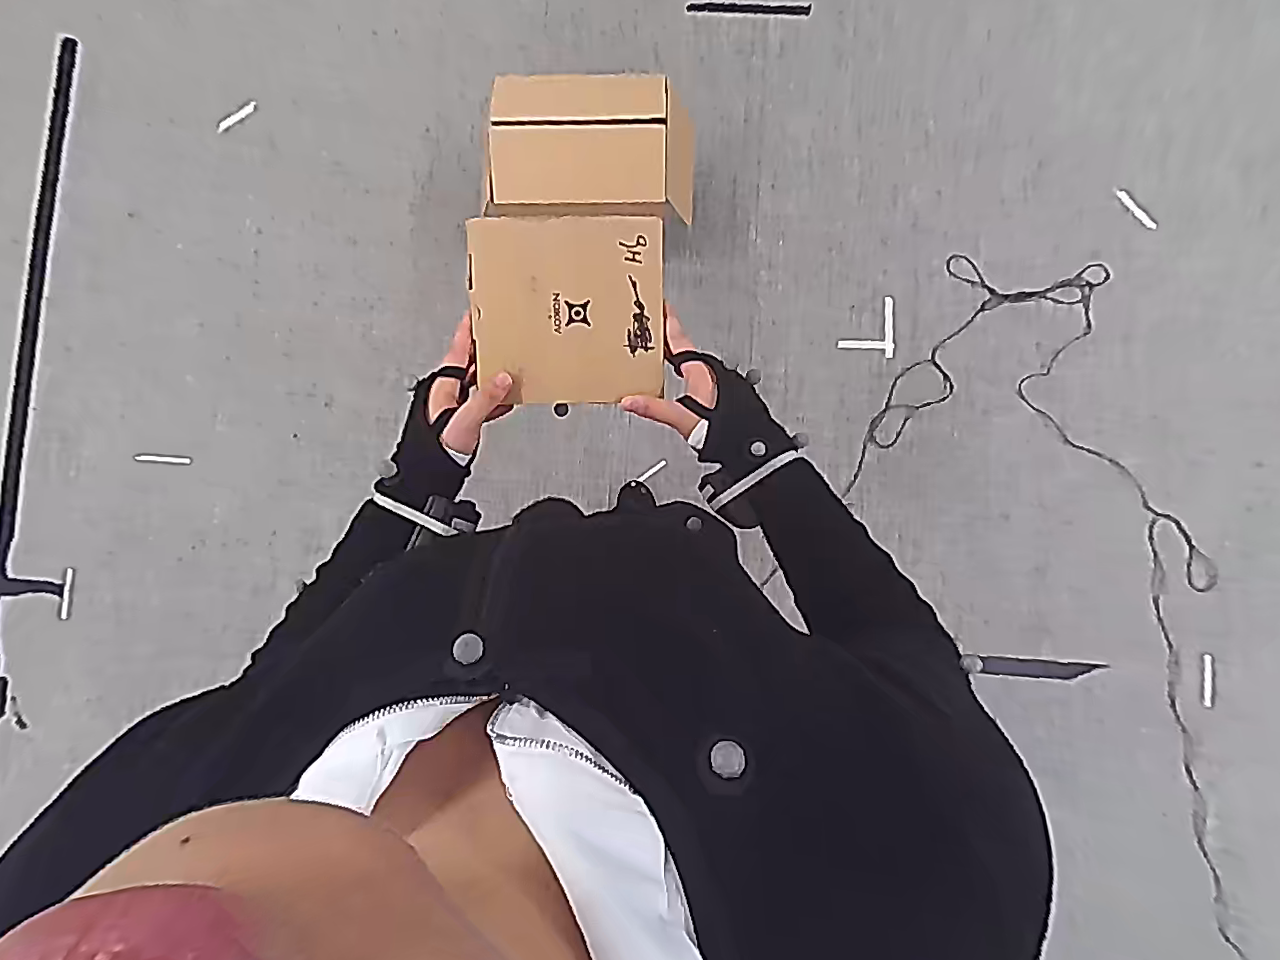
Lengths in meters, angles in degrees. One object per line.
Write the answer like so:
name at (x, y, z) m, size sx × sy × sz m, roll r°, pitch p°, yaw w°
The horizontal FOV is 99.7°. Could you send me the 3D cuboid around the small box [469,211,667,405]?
small box at (-0.065, -0.163, 0.562) m, size 0.179 × 0.176 × 0.168 m, roll -1°, pitch 97°, yaw -2°
